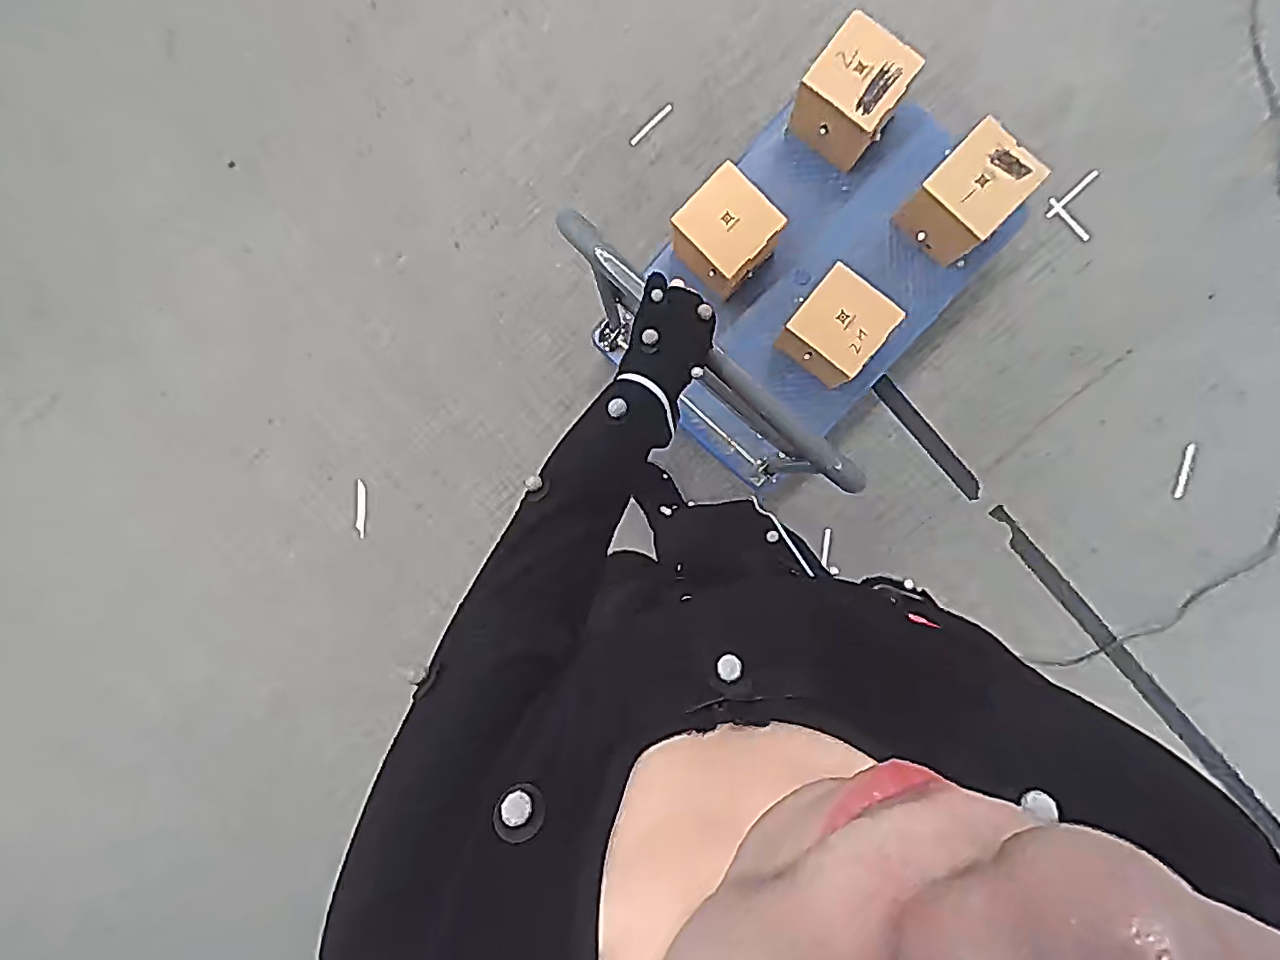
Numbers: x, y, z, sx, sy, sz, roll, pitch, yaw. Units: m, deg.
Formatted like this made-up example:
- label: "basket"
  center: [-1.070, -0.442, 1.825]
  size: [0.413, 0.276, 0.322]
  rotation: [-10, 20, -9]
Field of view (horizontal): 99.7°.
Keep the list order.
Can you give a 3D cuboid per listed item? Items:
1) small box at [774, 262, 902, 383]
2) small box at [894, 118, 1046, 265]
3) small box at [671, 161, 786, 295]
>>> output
- label: "small box"
  center: [0.414, -0.327, 1.165]
  size: [0.179, 0.176, 0.168]
  rotation: [40, 96, 1]
- label: "small box"
  center: [0.672, -0.587, 1.127]
  size: [0.168, 0.176, 0.179]
  rotation: [44, 97, 1]
- label: "small box"
  center: [0.182, -0.532, 1.172]
  size: [0.168, 0.176, 0.179]
  rotation: [-45, 91, 6]
